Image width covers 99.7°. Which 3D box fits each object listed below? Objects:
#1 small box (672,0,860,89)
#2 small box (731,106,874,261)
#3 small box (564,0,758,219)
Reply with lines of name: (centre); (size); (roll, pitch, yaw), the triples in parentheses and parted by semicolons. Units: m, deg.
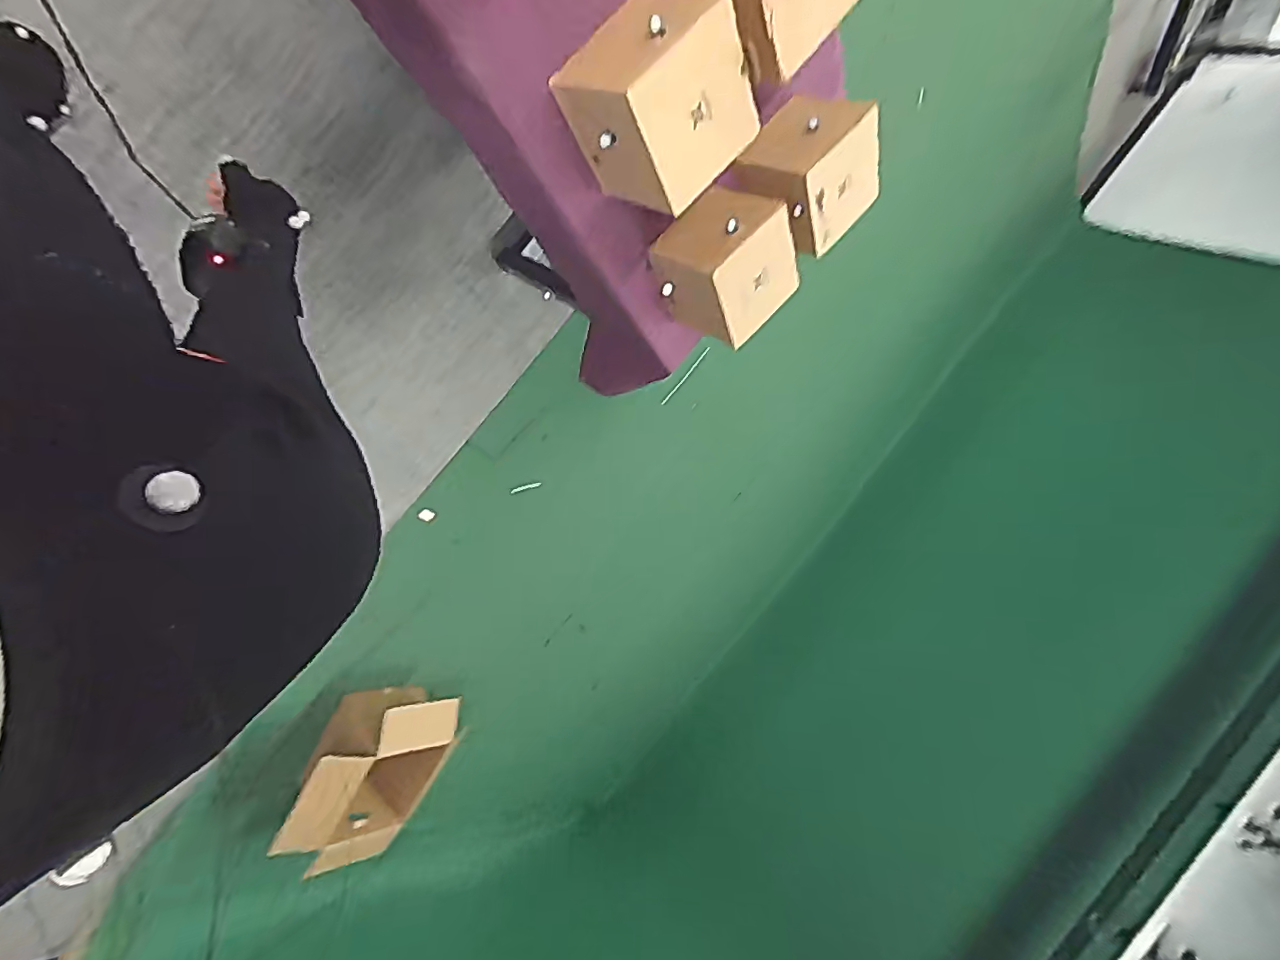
small box: (0.161, -0.664, 0.714); (0.179, 0.176, 0.168); (-48, 144, -3)
small box: (0.292, -0.533, 0.966); (0.179, 0.176, 0.168); (-46, 143, -7)
small box: (0.023, -0.487, 0.717); (0.179, 0.176, 0.168); (-47, 143, -5)
